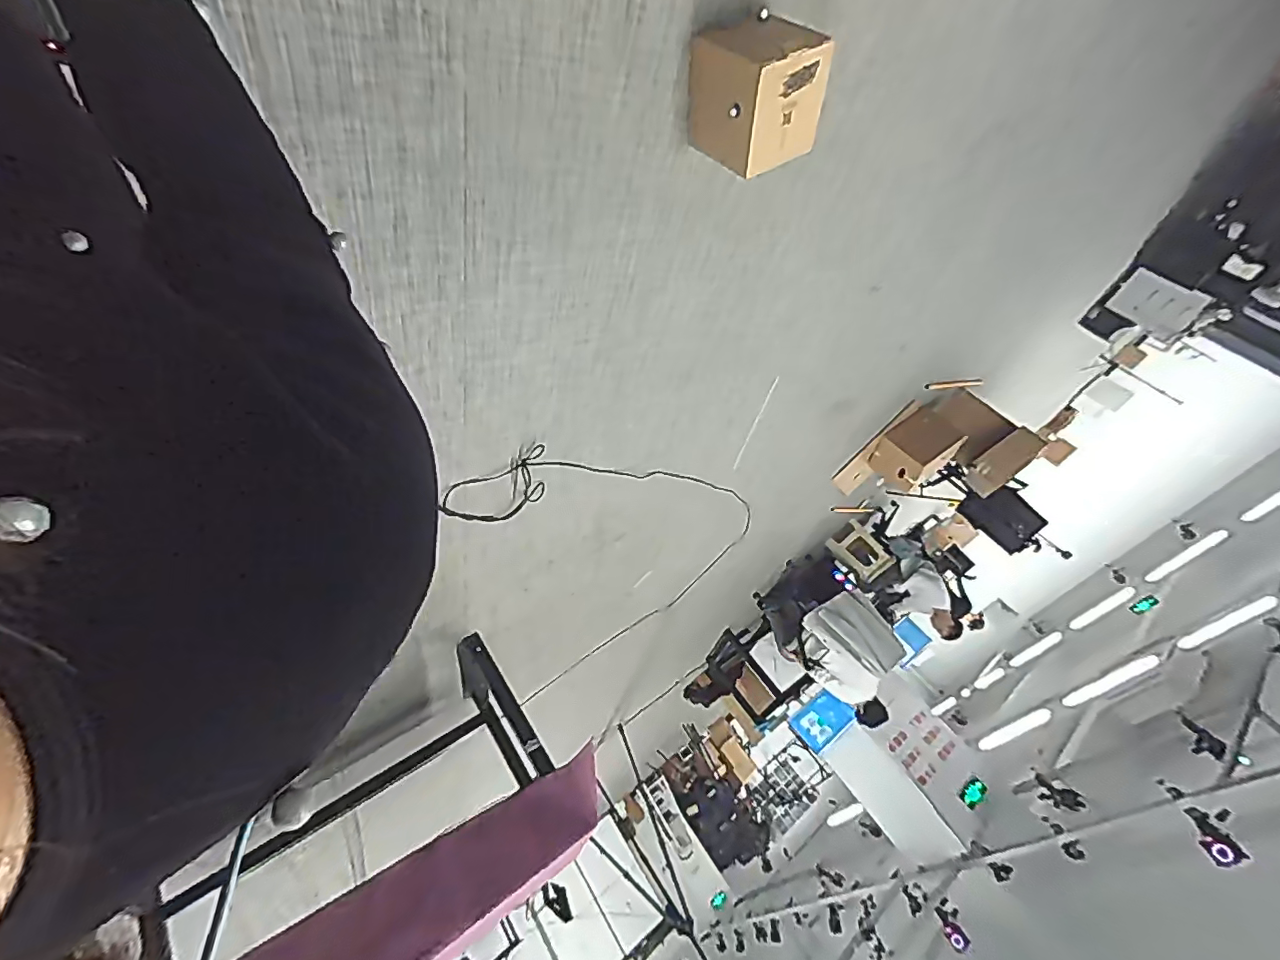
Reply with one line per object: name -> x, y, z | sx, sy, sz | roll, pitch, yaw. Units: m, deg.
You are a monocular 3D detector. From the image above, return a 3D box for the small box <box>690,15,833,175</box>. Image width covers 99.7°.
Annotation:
small box -> 0.202, -0.684, 0.954 | 0.168, 0.176, 0.179 | -32, 152, -17
